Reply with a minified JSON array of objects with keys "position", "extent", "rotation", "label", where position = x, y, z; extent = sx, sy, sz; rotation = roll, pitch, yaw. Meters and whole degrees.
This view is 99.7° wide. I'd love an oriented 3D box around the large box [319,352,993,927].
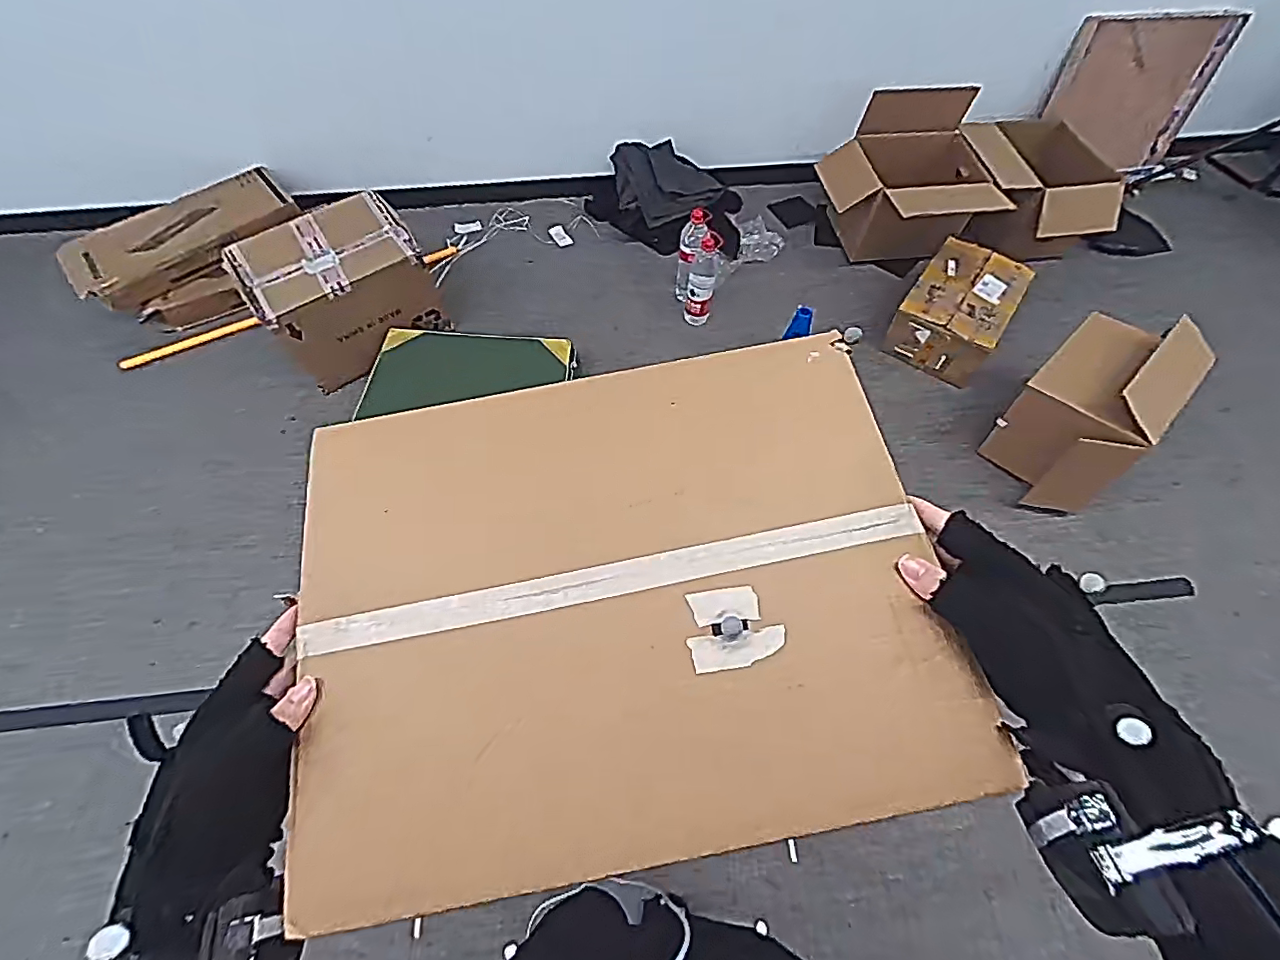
[{"position":[-0.009,0.132,0.502],"extent":[0.408,0.320,0.320],"rotation":[-11,67,-2],"label":"large box"}]
